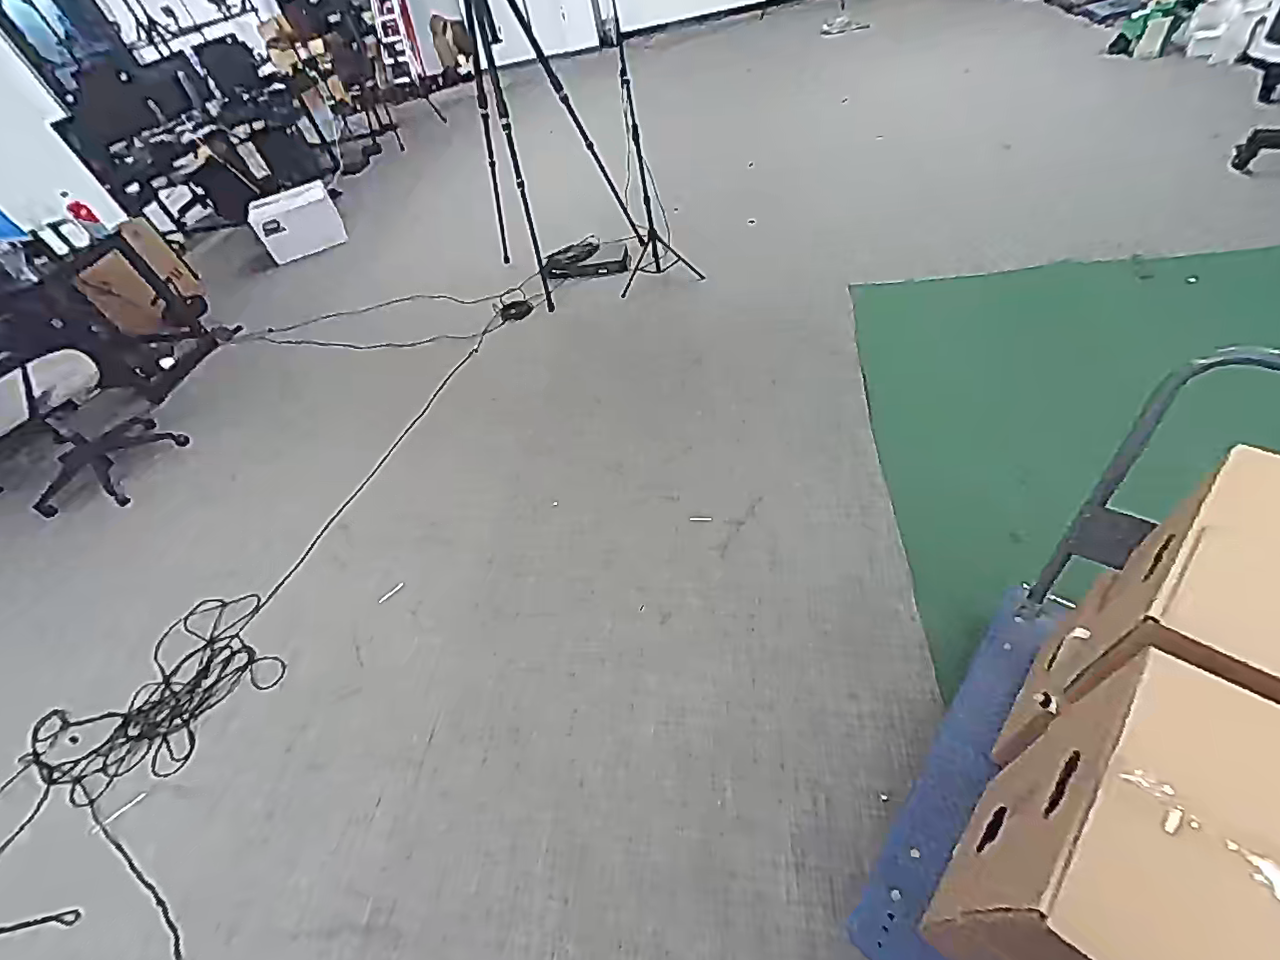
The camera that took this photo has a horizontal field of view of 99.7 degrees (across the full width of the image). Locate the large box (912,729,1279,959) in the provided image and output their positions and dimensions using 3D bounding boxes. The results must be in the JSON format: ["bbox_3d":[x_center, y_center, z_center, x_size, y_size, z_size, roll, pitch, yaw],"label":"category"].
[{"bbox_3d":[0.681,0.658,0.780,0.408,0.320,0.320,28,59,34],"label":"large box"}]
